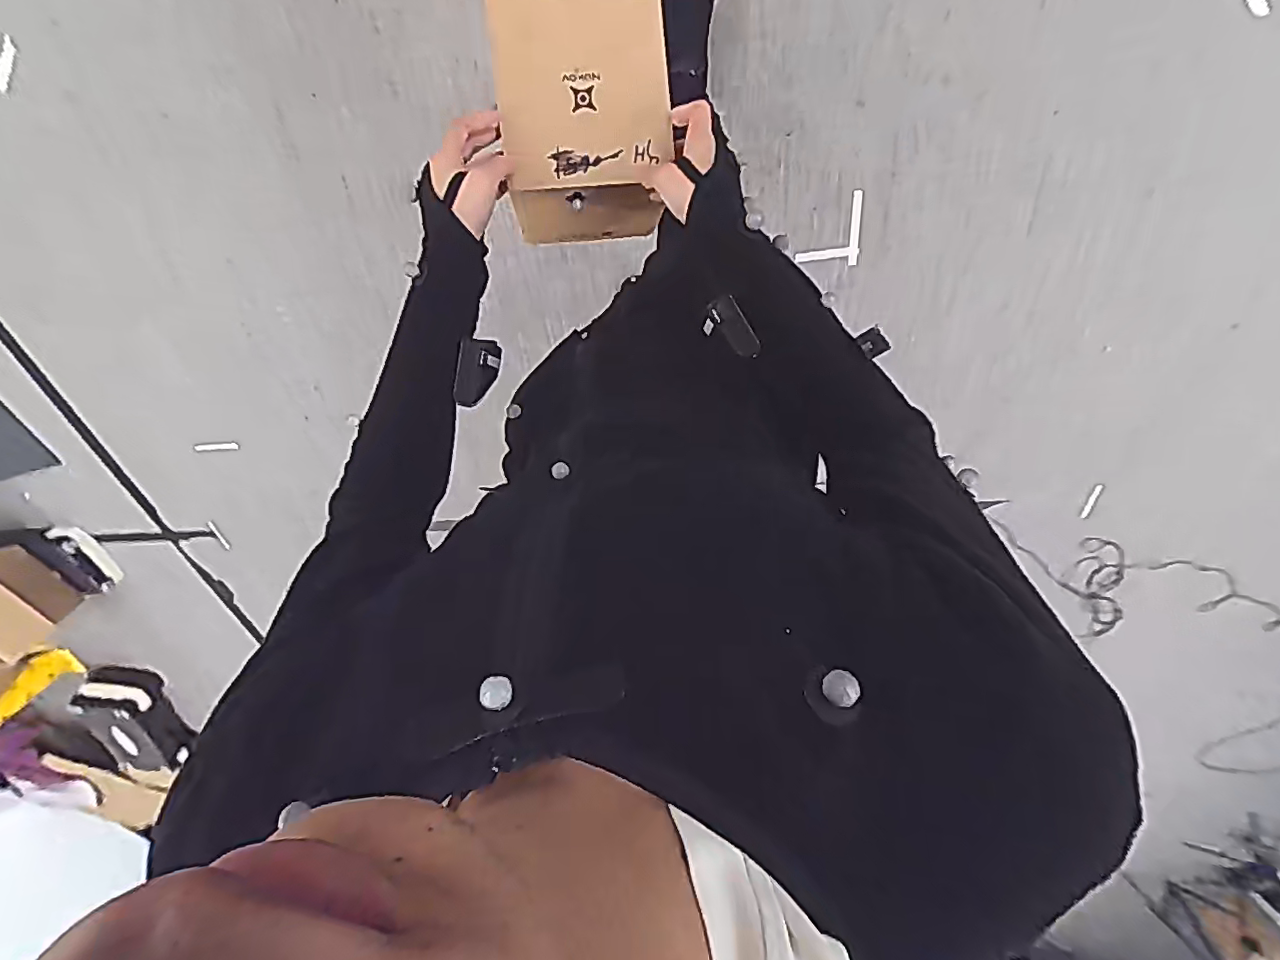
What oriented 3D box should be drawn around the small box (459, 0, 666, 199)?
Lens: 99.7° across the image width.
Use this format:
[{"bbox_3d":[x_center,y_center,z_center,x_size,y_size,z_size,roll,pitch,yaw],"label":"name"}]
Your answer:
[{"bbox_3d":[-0.076,-0.398,0.521,0.168,0.176,0.179,-7,98,-6],"label":"small box"}]
